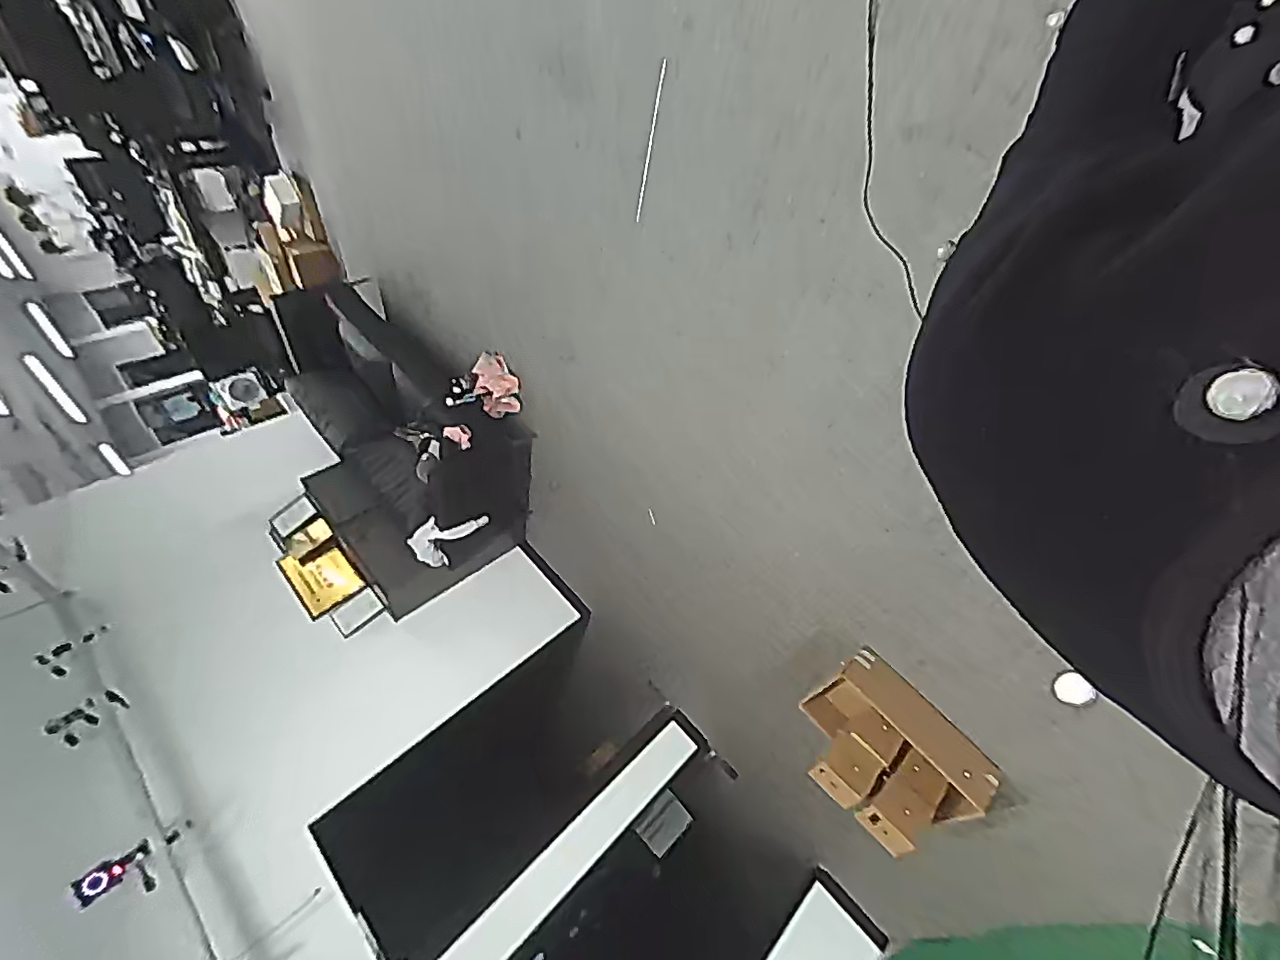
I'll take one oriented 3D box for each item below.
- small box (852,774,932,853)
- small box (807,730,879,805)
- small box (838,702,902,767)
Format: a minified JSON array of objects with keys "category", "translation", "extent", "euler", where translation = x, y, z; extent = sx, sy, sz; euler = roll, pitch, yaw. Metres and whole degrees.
[{"category":"small box","translation":[0.933,1.225,2.000],"extent":[0.179,0.176,0.168],"euler":[42,143,24]},{"category":"small box","translation":[0.790,1.111,2.096],"extent":[0.179,0.176,0.168],"euler":[40,143,23]},{"category":"small box","translation":[0.915,1.031,2.169],"extent":[0.168,0.176,0.179],"euler":[43,143,19]}]
